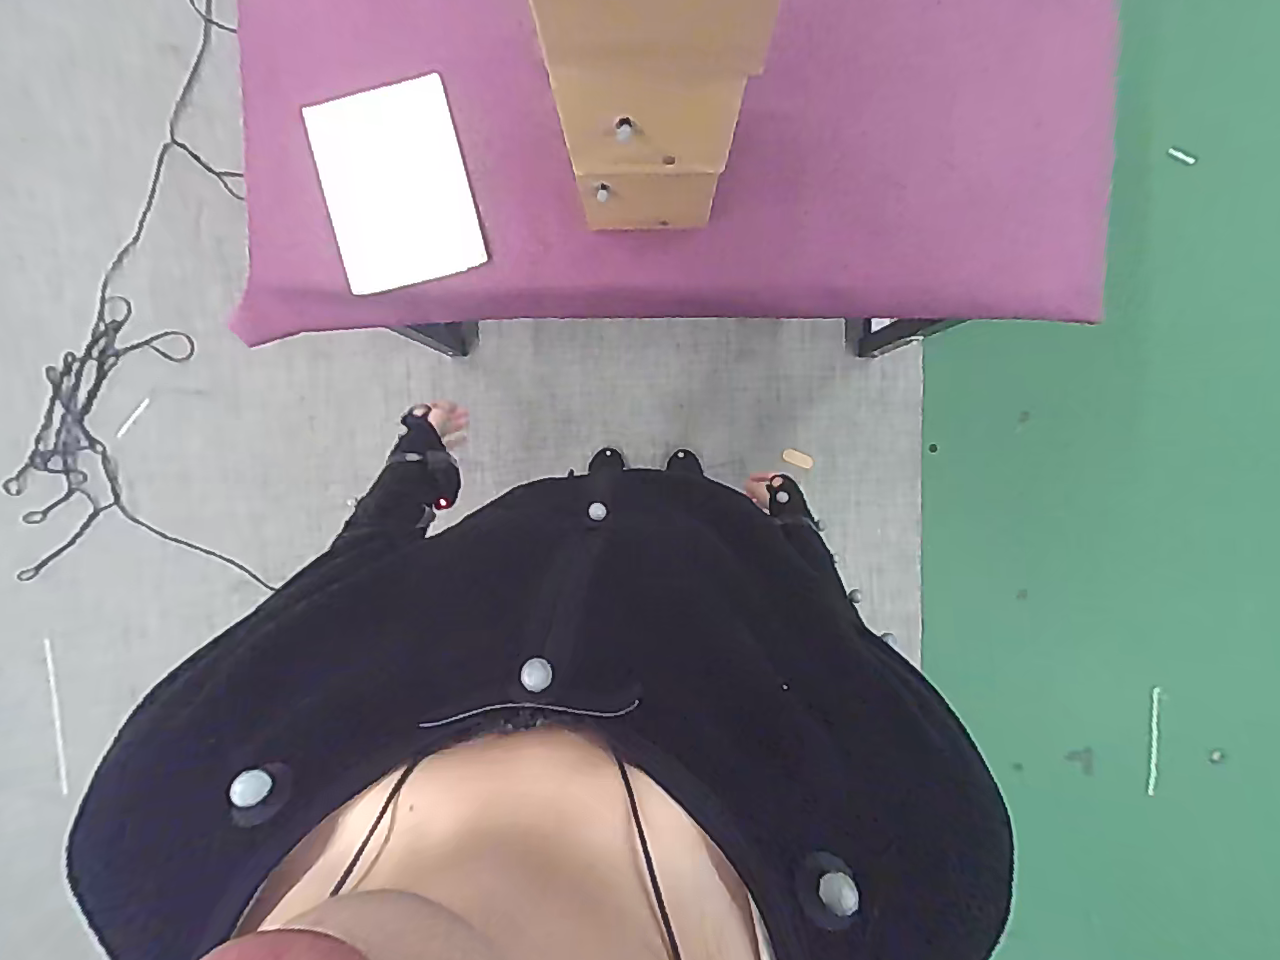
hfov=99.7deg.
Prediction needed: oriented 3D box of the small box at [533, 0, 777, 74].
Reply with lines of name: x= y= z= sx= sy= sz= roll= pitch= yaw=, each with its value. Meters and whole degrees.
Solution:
small box: x=0.015 y=-0.407 z=0.354 sx=0.179 sy=0.176 sz=0.168 roll=2 pitch=91 yaw=1

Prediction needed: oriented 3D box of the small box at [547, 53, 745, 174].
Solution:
small box: x=0.008 y=-0.420 z=0.519 sx=0.168 sy=0.176 sz=0.179 roll=0 pitch=92 yaw=1
